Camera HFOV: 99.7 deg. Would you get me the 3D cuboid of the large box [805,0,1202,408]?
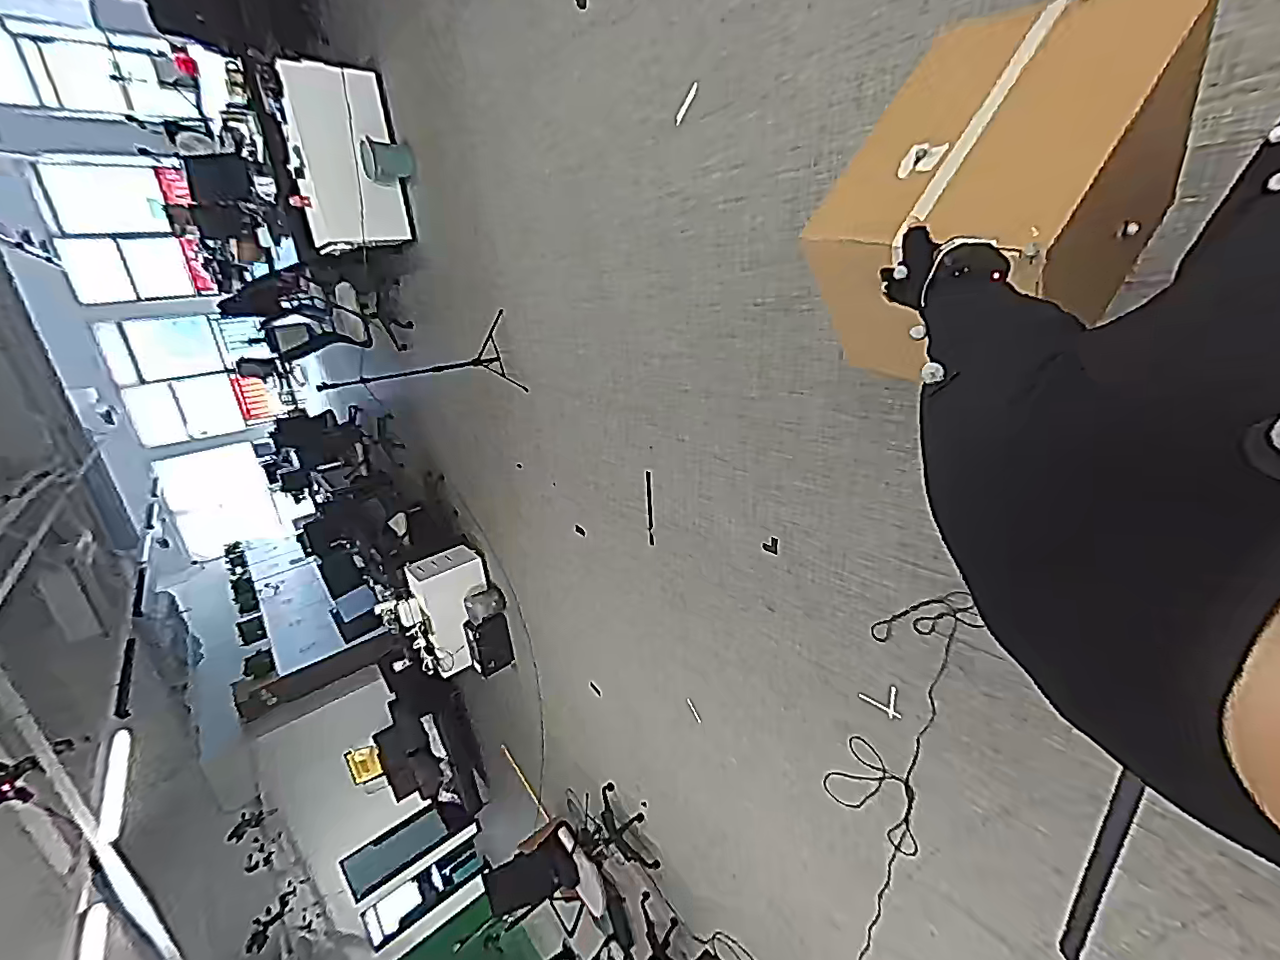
[{"bbox_3d":[0.524,-0.385,0.815,0.320,0.408,0.320,30,173,45],"label":"large box"}]
